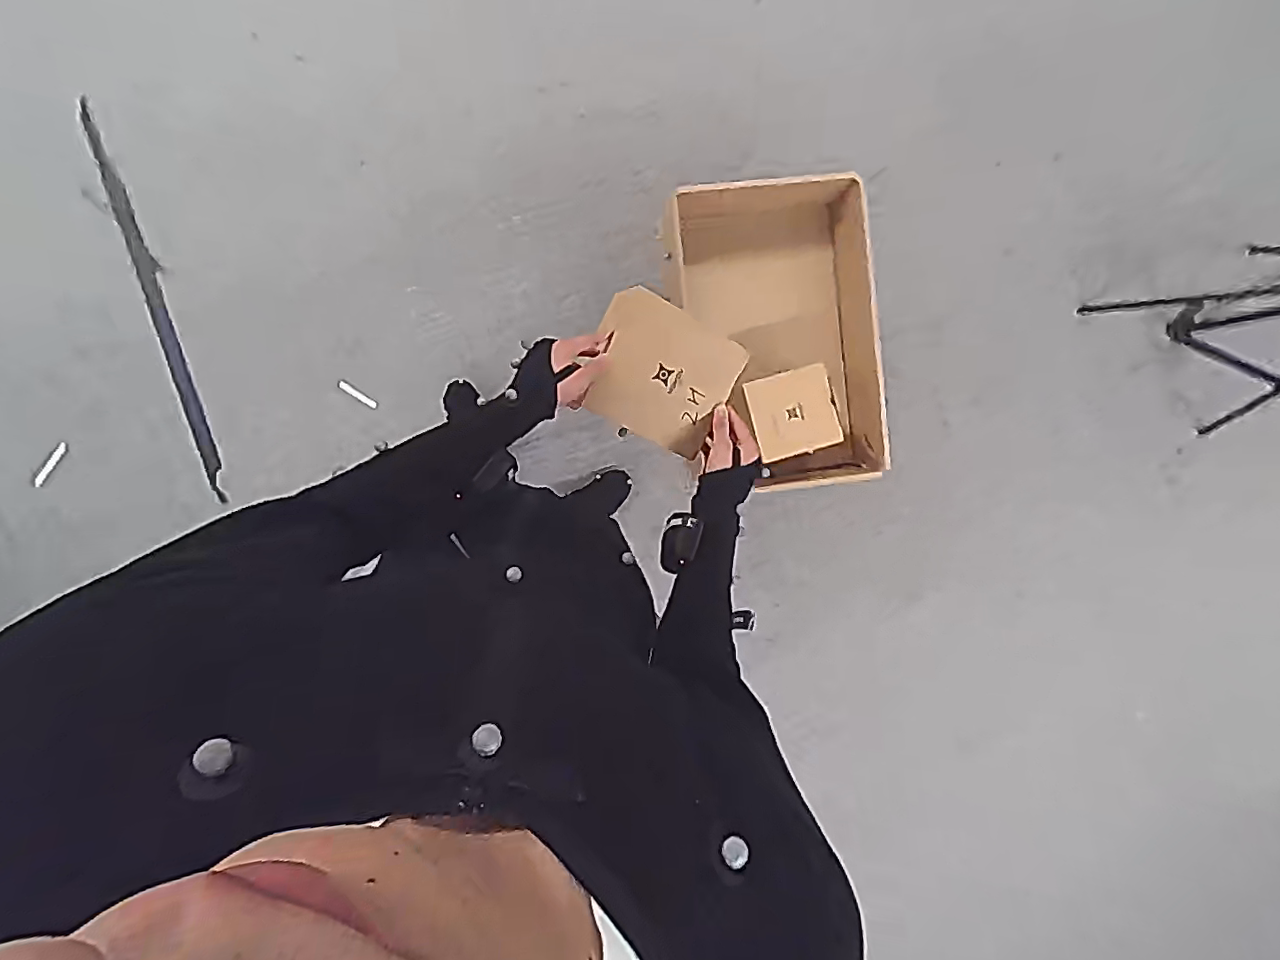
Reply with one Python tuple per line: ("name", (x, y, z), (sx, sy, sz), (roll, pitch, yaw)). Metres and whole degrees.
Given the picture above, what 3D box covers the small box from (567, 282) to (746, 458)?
("small box", (0.010, -0.152, 0.757), (0.179, 0.176, 0.168), (24, 99, -18))
